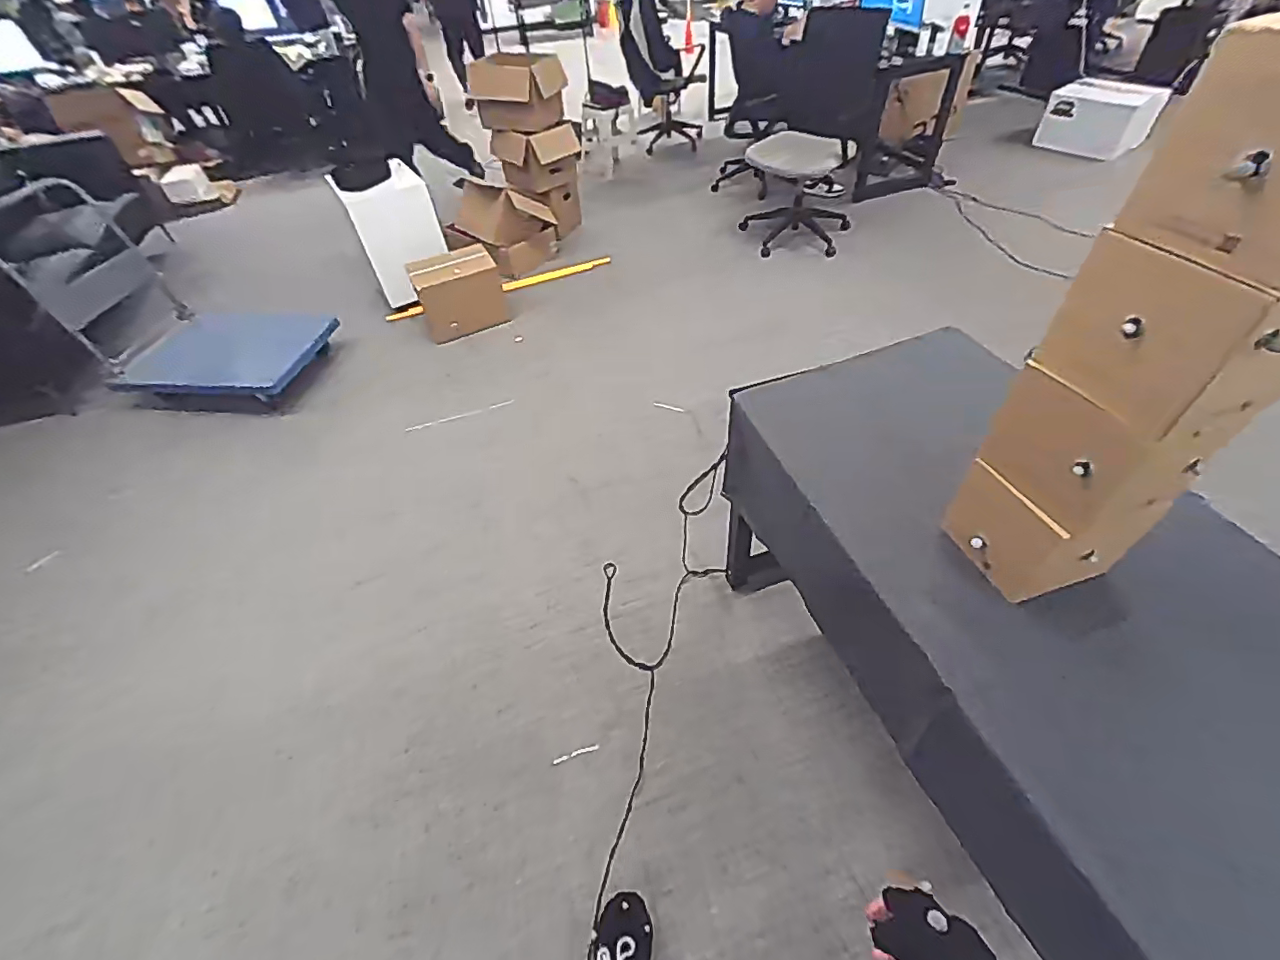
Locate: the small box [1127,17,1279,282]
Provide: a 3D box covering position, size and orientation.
[{"bbox_3d":[0.595,-0.294,0.477,0.179,0.176,0.168,-16,47,-11],"label":"small box"}]

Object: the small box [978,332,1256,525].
[{"bbox_3d":[0.597,-0.062,0.707,0.168,0.176,0.179,-16,47,-12],"label":"small box"}]

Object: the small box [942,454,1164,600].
[{"bbox_3d":[0.605,0.054,0.822,0.179,0.176,0.168,-16,47,-9],"label":"small box"}]
